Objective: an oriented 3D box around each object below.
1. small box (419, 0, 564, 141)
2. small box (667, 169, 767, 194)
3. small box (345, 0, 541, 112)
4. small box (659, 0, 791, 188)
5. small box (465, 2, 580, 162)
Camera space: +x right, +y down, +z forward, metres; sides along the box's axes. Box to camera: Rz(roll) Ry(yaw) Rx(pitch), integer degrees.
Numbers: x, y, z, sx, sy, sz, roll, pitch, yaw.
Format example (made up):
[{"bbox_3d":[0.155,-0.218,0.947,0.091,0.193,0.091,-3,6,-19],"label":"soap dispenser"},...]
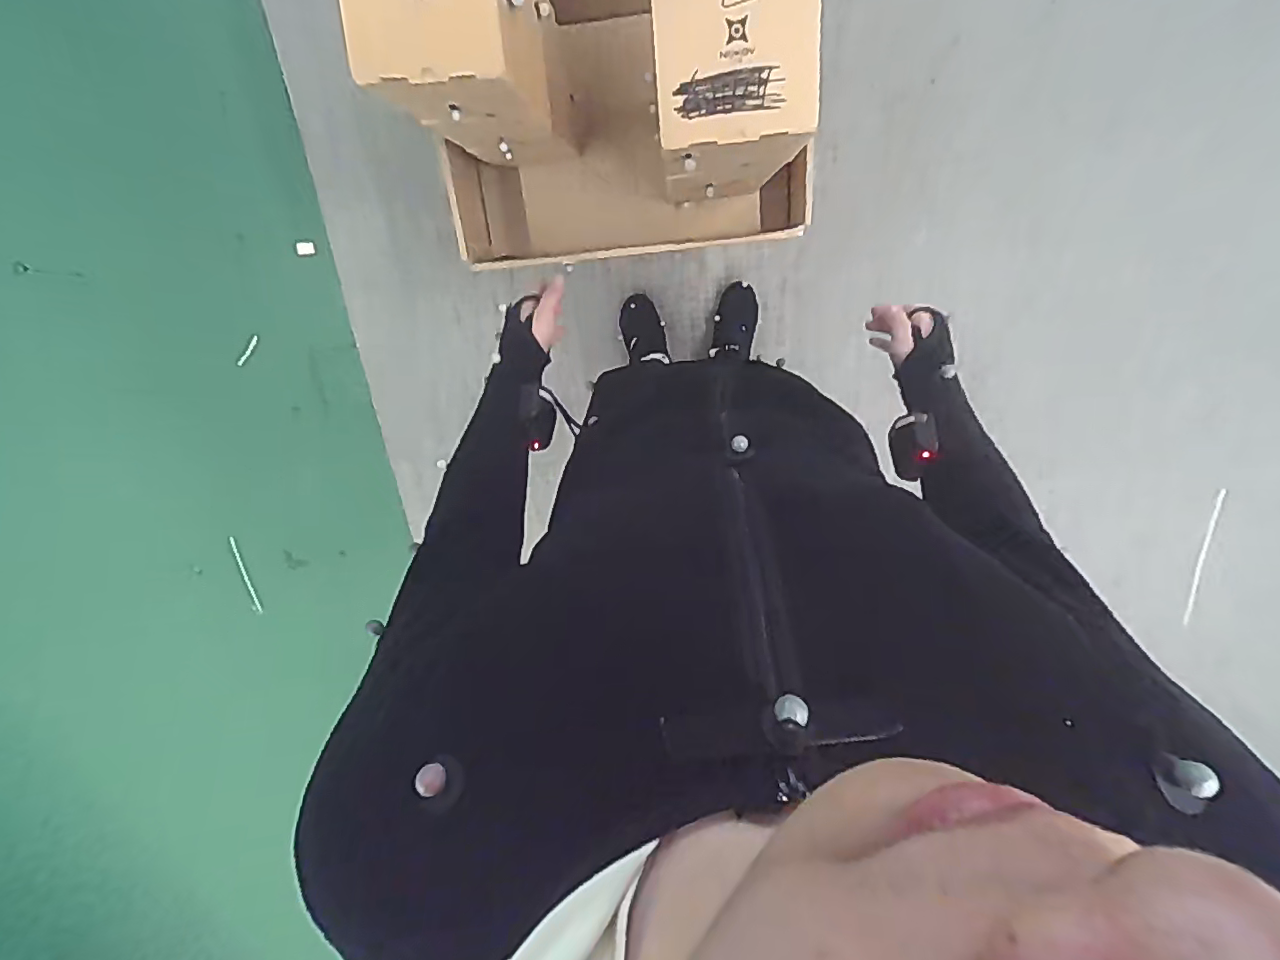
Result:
[{"bbox_3d":[-0.206,-0.596,0.756,0.168,0.176,0.179,0,112,4],"label":"small box"},{"bbox_3d":[0.125,-0.591,0.913,0.168,0.176,0.179,-4,110,5],"label":"small box"},{"bbox_3d":[-0.212,-0.537,0.606,0.168,0.176,0.179,1,112,3],"label":"small box"},{"bbox_3d":[0.114,-0.530,0.762,0.168,0.176,0.179,-5,111,6],"label":"small box"},{"bbox_3d":[-0.198,-0.655,0.909,0.168,0.176,0.179,-2,111,4],"label":"small box"}]
